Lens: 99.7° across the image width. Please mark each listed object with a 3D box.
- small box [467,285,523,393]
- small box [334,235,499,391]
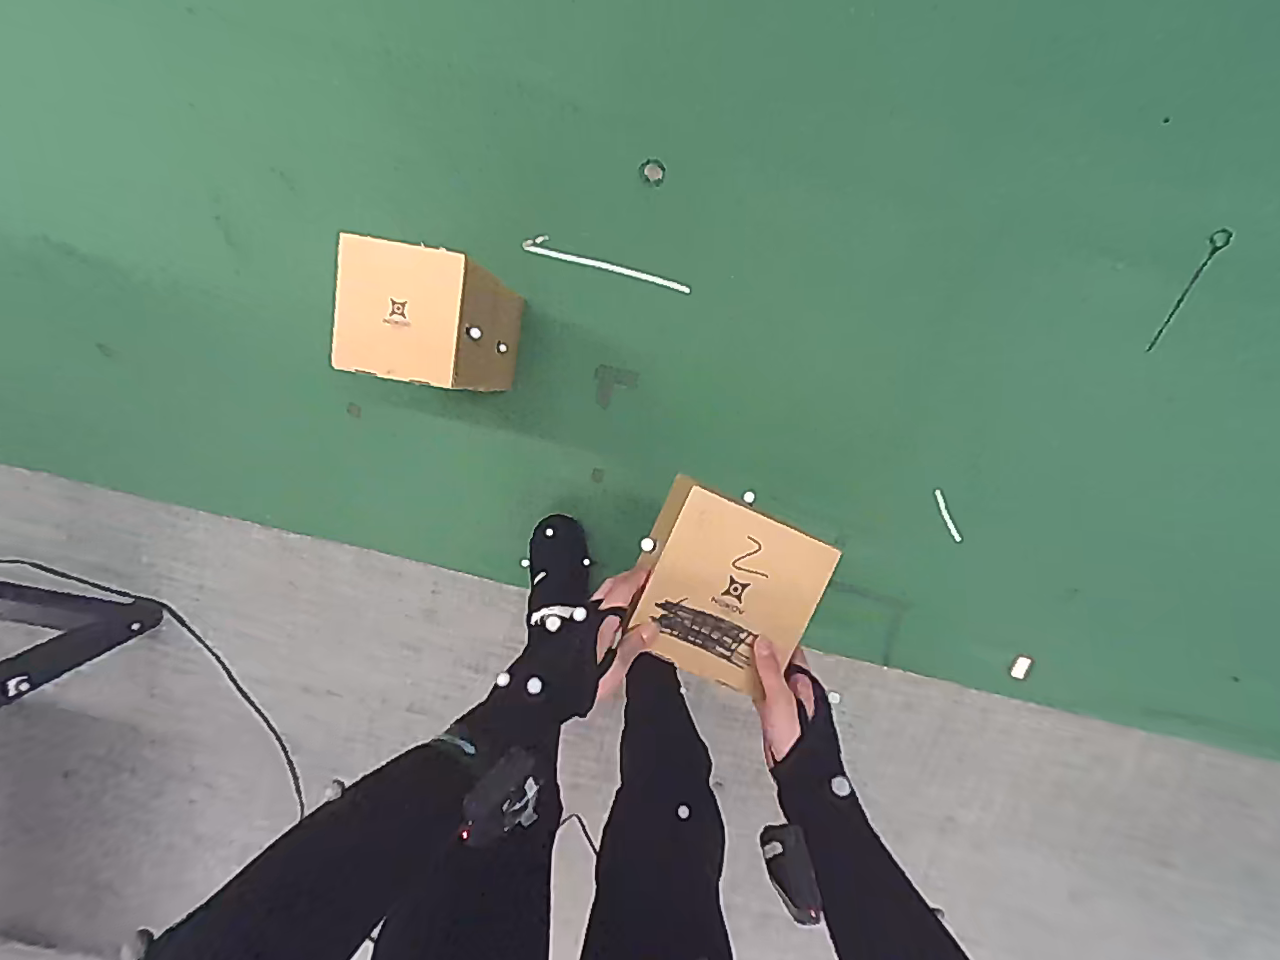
[{"bbox_3d":[-0.314,-0.256,0.950,0.168,0.176,0.179,11,100,-1],"label":"small box"},{"bbox_3d":[-0.313,-0.233,0.789,0.168,0.176,0.179,10,101,-1],"label":"small box"}]
